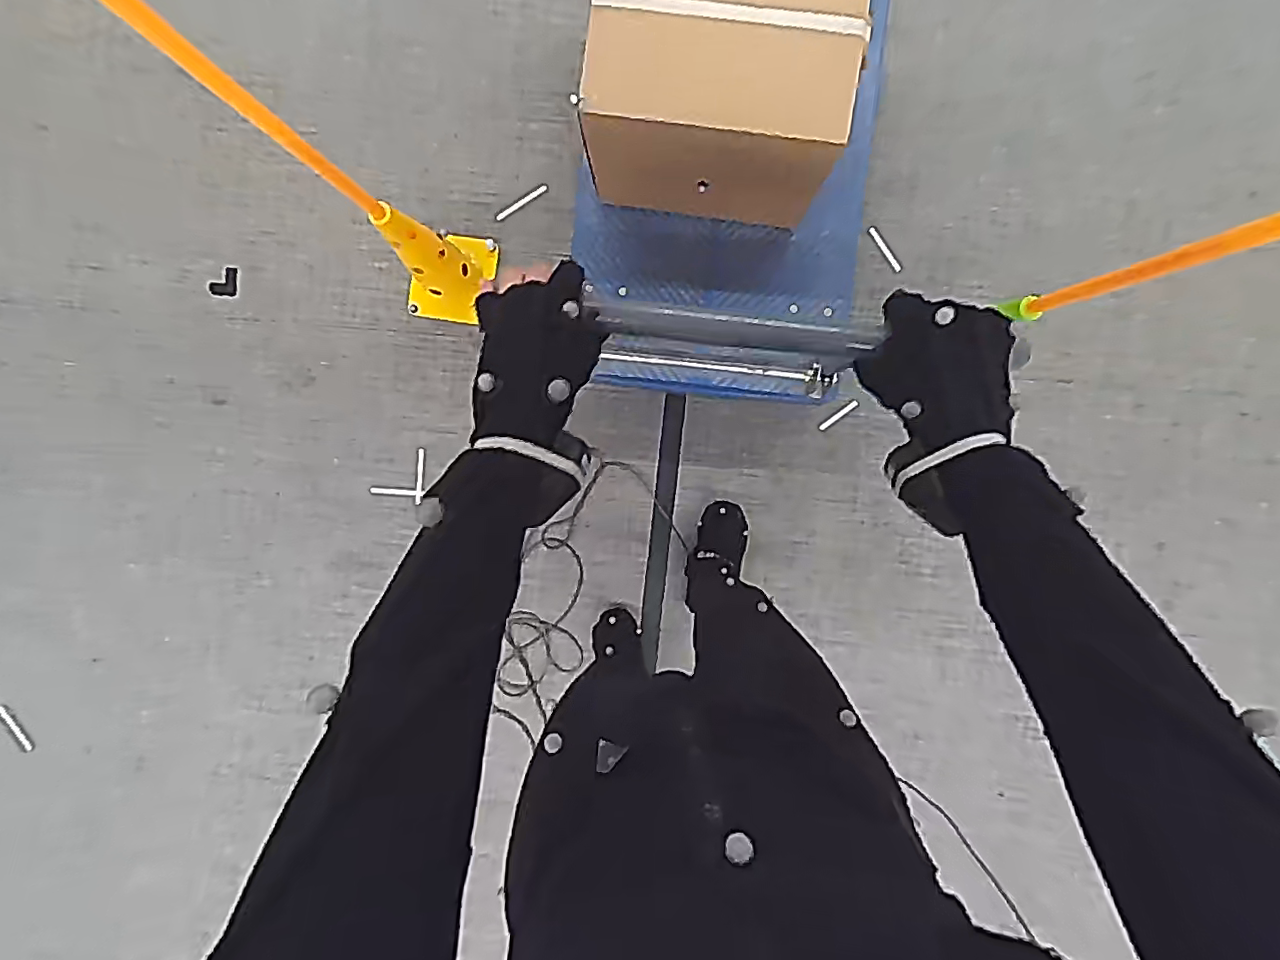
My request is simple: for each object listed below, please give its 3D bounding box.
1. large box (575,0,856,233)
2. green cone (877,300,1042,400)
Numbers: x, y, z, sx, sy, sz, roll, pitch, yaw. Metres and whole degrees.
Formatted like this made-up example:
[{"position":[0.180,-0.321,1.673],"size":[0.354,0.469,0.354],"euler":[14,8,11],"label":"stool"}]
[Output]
[{"position":[0.123,-0.664,0.959],"size":[0.408,0.320,0.320],"euler":[8,94,2],"label":"large box"},{"position":[0.664,-0.291,1.097],"size":[0.202,0.368,0.200],"euler":[9,93,1],"label":"green cone"}]
